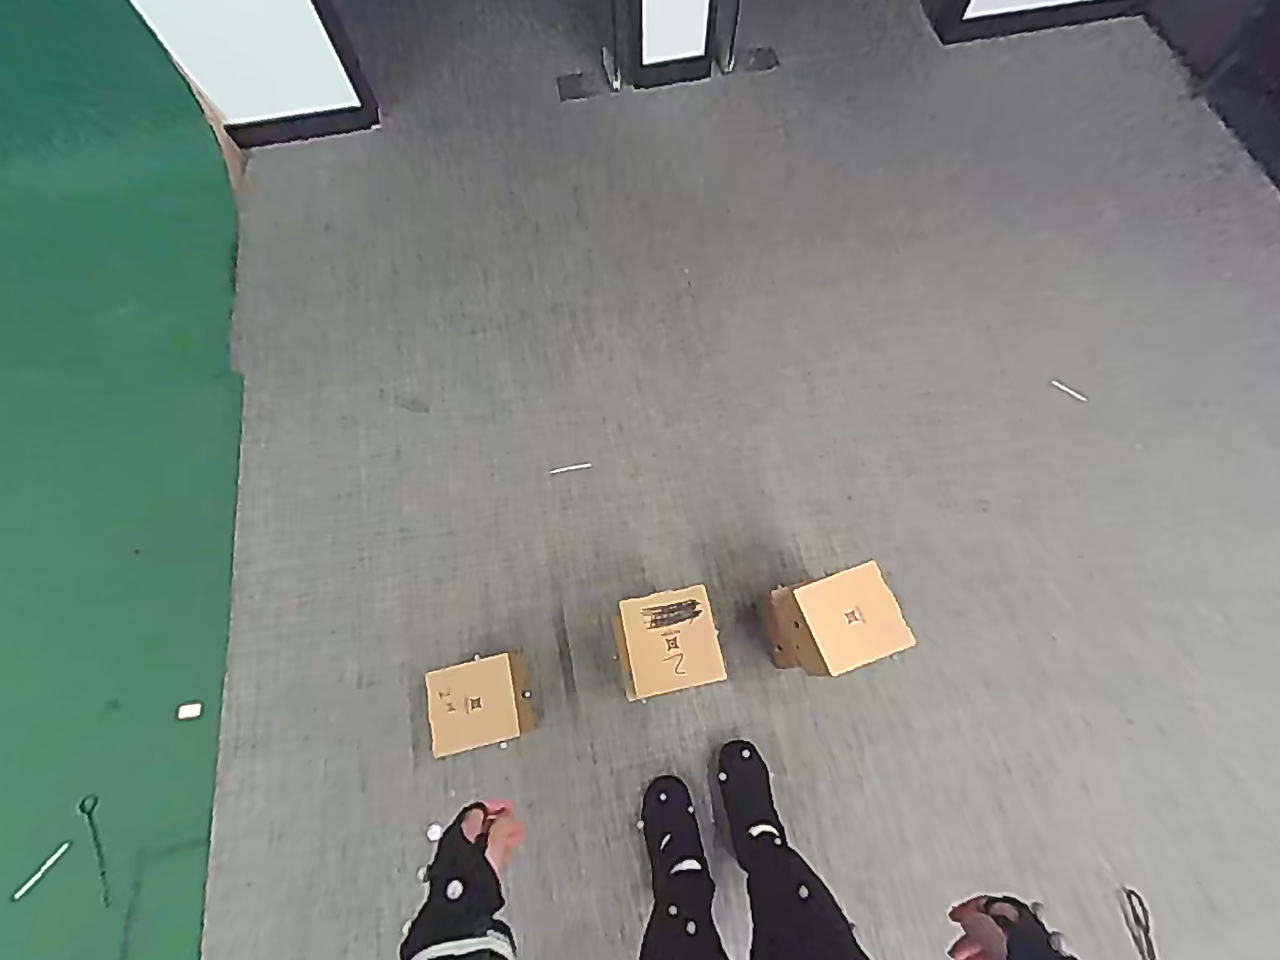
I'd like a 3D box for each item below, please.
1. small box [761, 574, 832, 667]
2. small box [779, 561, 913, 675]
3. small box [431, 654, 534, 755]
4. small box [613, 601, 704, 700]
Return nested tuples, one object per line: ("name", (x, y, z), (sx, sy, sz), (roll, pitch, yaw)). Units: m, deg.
("small box", (0.388, 0.323, 1.232), (0.179, 0.176, 0.168), (-14, 71, -5))
("small box", (0.392, 0.280, 1.075), (0.179, 0.176, 0.168), (-19, 71, -7))
("small box", (-0.335, 0.483, 1.181), (0.179, 0.176, 0.168), (-12, 69, -4))
("small box", (0.039, 0.383, 1.214), (0.168, 0.176, 0.179), (-12, 69, -4))
